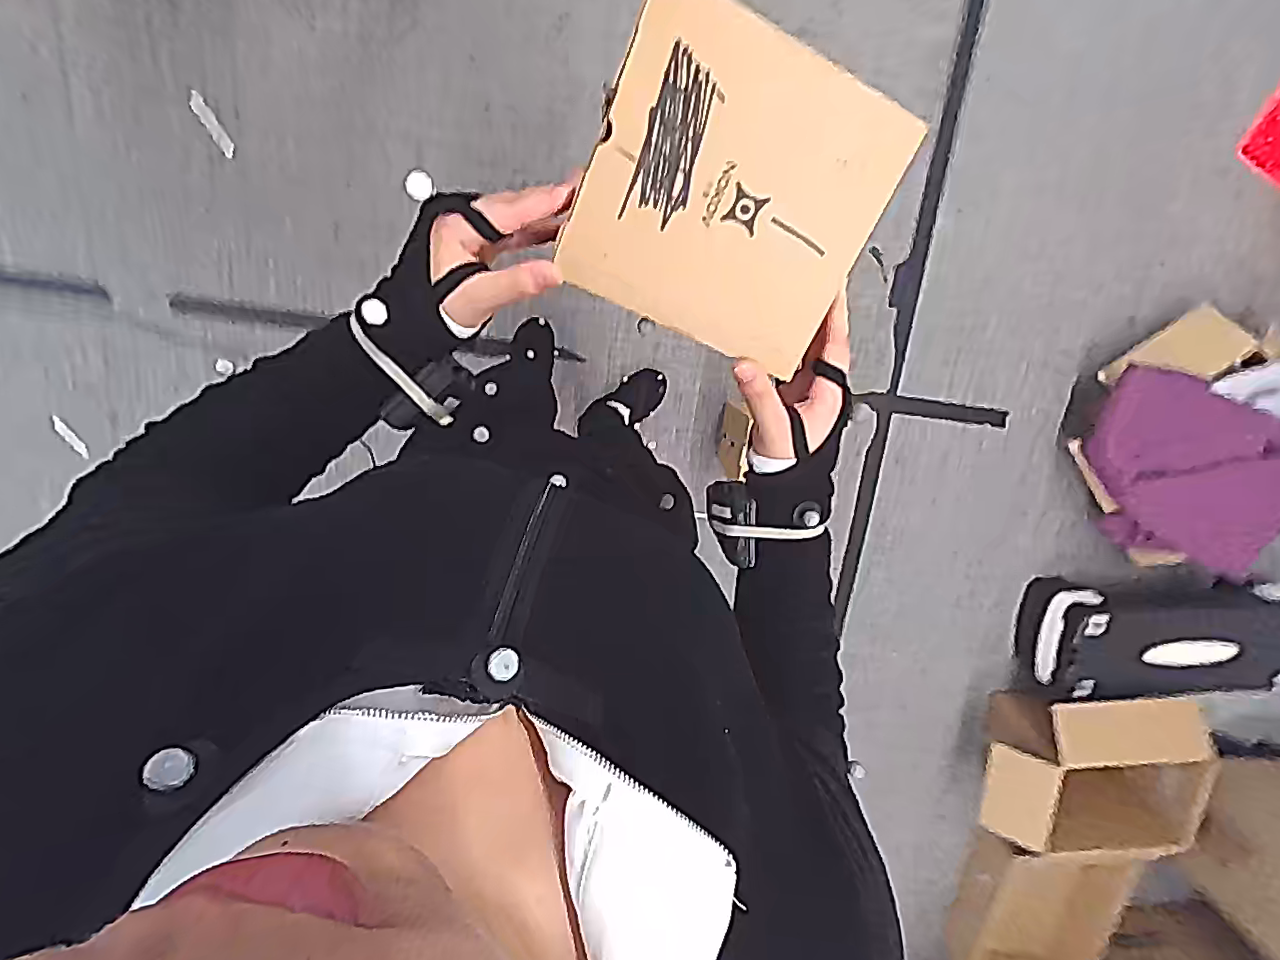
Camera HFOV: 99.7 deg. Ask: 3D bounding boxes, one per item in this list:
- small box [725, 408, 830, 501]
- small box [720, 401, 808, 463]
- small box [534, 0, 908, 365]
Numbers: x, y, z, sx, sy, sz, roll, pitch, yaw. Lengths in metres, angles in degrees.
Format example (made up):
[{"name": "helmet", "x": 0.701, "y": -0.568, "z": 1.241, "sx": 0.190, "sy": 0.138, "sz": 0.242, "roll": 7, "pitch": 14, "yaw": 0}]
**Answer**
[{"name": "small box", "x": 0.305, "y": -0.065, "z": 1.238, "sx": 0.179, "sy": 0.176, "sz": 0.168, "roll": 8, "pitch": 105, "yaw": -3}, {"name": "small box", "x": 0.310, "y": -0.107, "z": 1.399, "sx": 0.179, "sy": 0.176, "sz": 0.168, "roll": 7, "pitch": 106, "yaw": -2}, {"name": "small box", "x": 0.039, "y": -0.204, "z": 0.392, "sx": 0.179, "sy": 0.176, "sz": 0.168, "roll": 20, "pitch": 111, "yaw": -13}]
